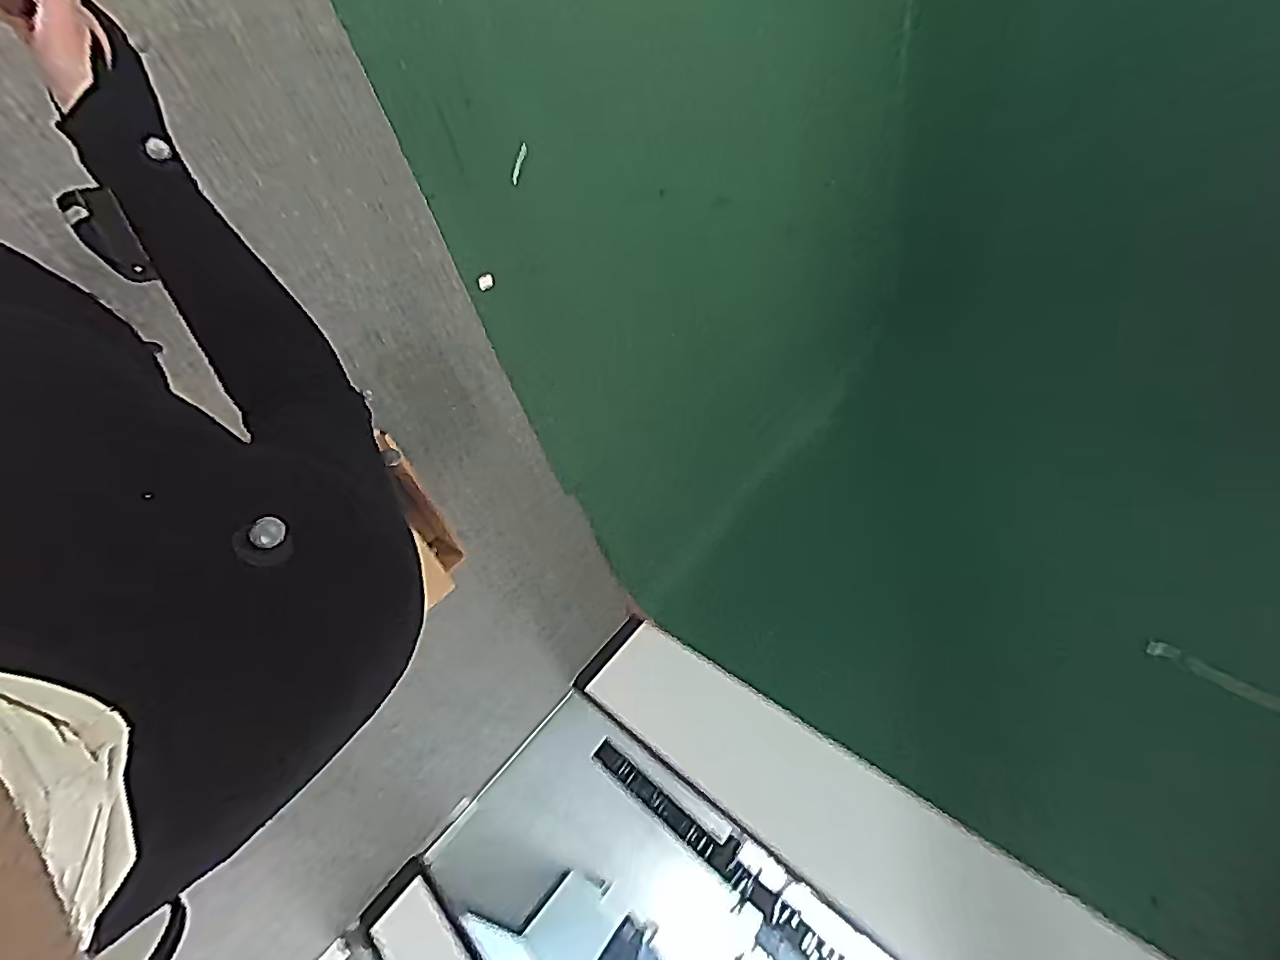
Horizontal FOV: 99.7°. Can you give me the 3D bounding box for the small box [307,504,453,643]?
[{"bbox_3d":[-0.509,0.177,1.064,0.168,0.176,0.179,-42,135,-27],"label":"small box"}]
